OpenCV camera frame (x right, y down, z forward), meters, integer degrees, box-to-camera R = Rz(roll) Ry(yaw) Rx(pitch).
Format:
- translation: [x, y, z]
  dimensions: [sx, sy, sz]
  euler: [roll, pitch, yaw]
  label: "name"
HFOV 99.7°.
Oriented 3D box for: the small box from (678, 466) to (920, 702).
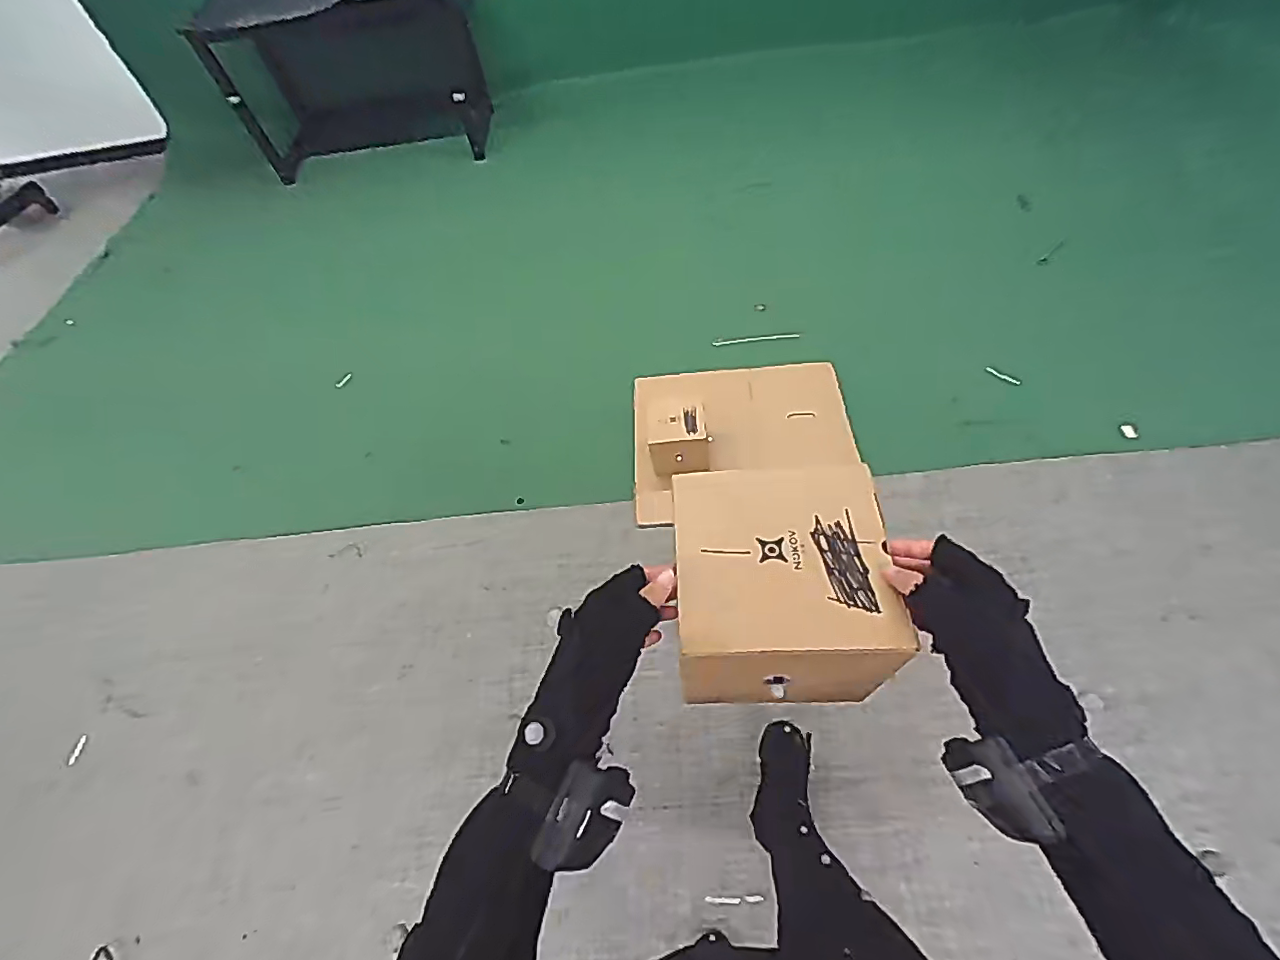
- translation: [0.126, 0.103, 0.506]
  dimensions: [0.179, 0.176, 0.168]
  euler: [-3, 55, 5]
  label: "small box"
